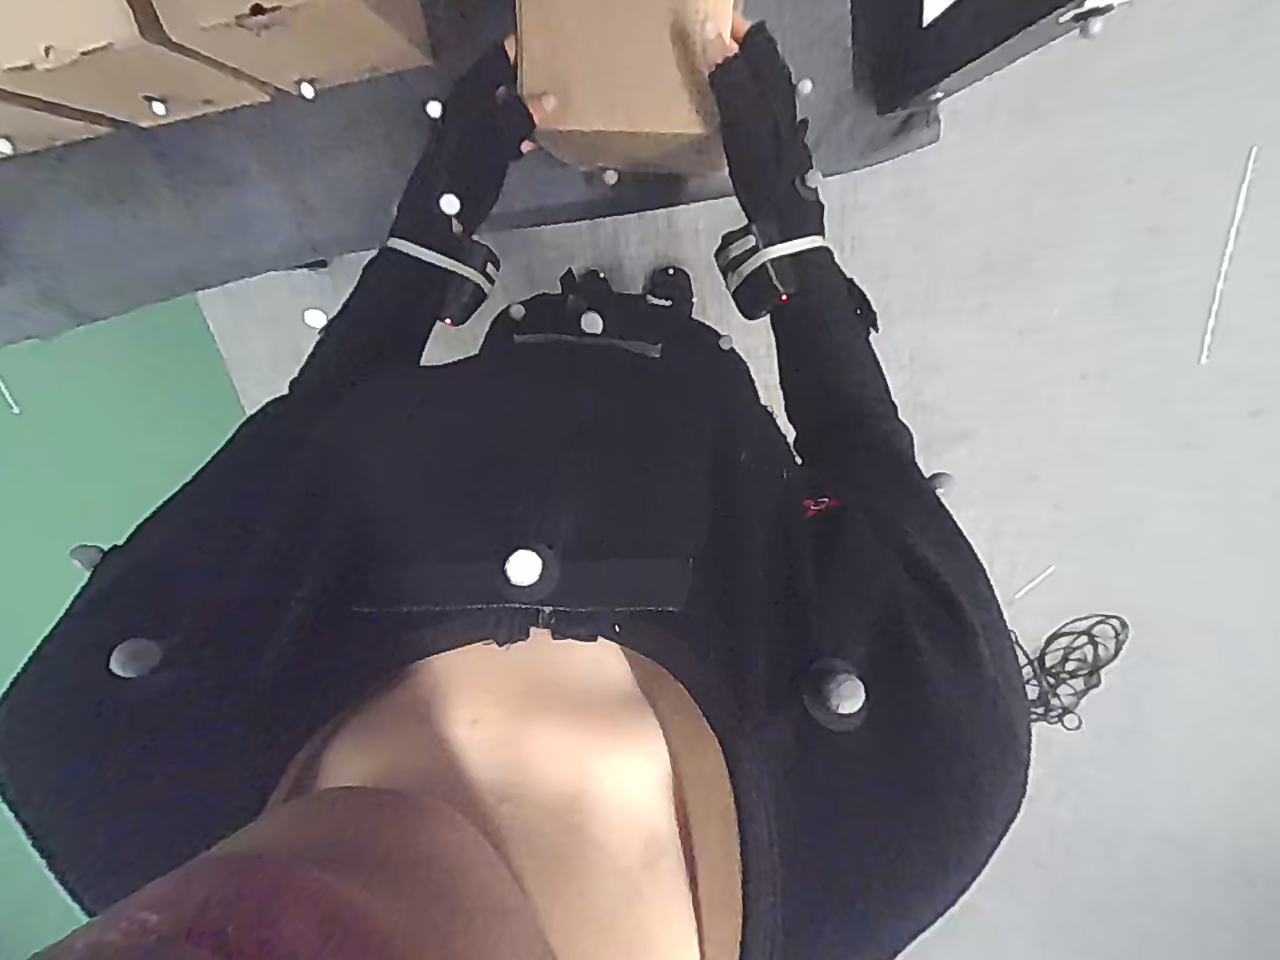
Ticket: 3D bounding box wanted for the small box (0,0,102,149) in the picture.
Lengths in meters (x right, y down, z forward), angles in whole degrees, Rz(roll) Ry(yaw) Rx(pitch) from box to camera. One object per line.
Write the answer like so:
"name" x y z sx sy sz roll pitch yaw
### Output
"small box" -0.687 -0.434 0.503 0.168 0.176 0.179 -8 112 6
